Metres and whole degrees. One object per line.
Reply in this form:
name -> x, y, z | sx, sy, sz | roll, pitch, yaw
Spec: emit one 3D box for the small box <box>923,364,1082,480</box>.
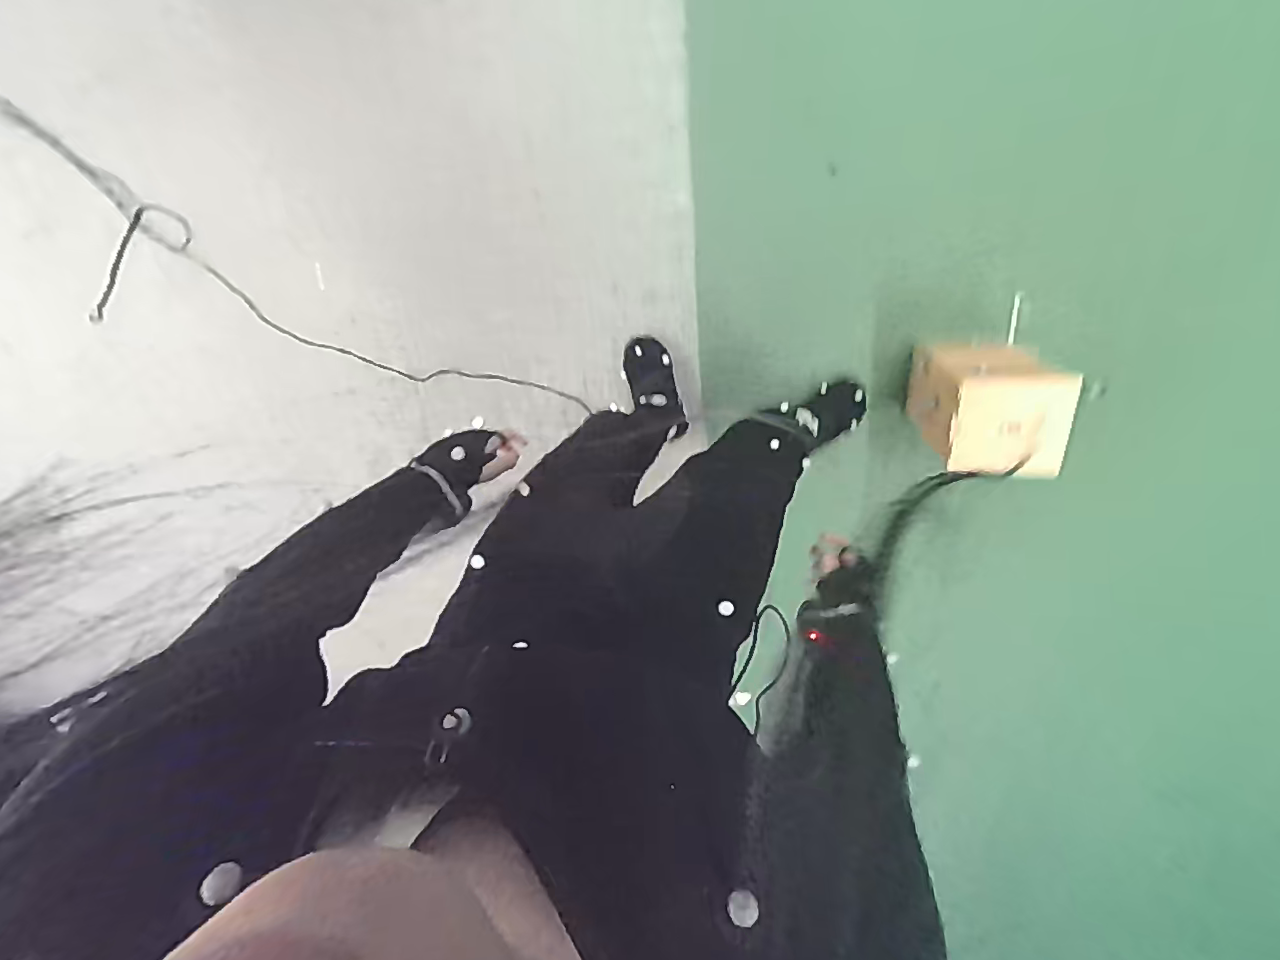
small box -> 0.633, -0.109, 0.972 | 0.179, 0.176, 0.168 | 1, 114, 13
